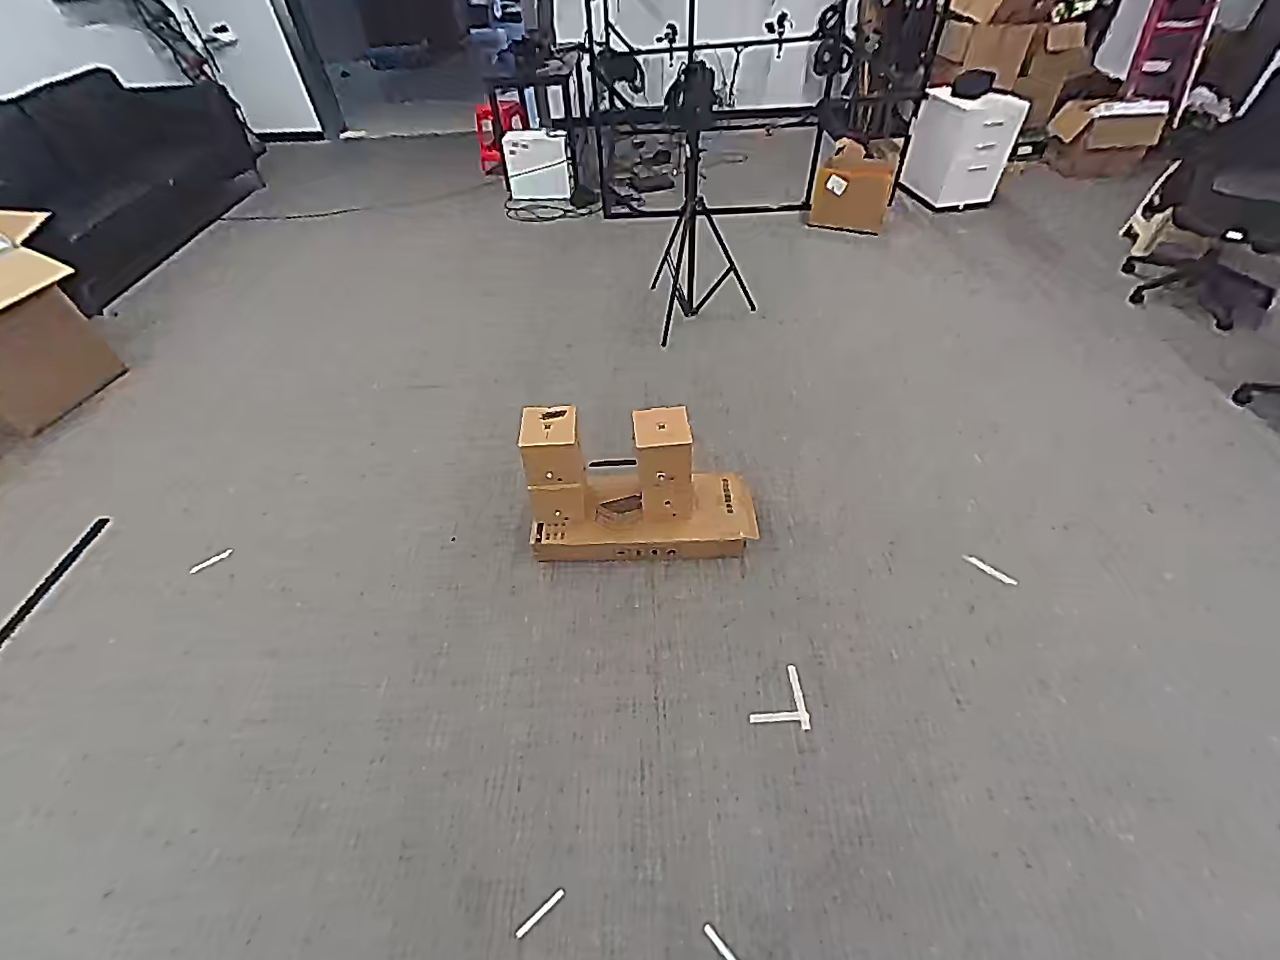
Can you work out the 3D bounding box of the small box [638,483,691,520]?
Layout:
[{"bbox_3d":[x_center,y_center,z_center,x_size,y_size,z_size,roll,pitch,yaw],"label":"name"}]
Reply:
[{"bbox_3d":[0.080,0.021,1.791,0.168,0.176,0.179,-4,47,1],"label":"small box"}]

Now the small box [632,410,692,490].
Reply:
[{"bbox_3d":[0.065,-0.092,1.673,0.168,0.176,0.179,-6,46,-2],"label":"small box"}]

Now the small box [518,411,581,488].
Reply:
[{"bbox_3d":[-0.275,-0.095,1.684,0.168,0.176,0.179,-3,46,-1],"label":"small box"}]

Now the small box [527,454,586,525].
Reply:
[{"bbox_3d":[-0.269,0.031,1.790,0.168,0.176,0.179,-2,46,0],"label":"small box"}]
